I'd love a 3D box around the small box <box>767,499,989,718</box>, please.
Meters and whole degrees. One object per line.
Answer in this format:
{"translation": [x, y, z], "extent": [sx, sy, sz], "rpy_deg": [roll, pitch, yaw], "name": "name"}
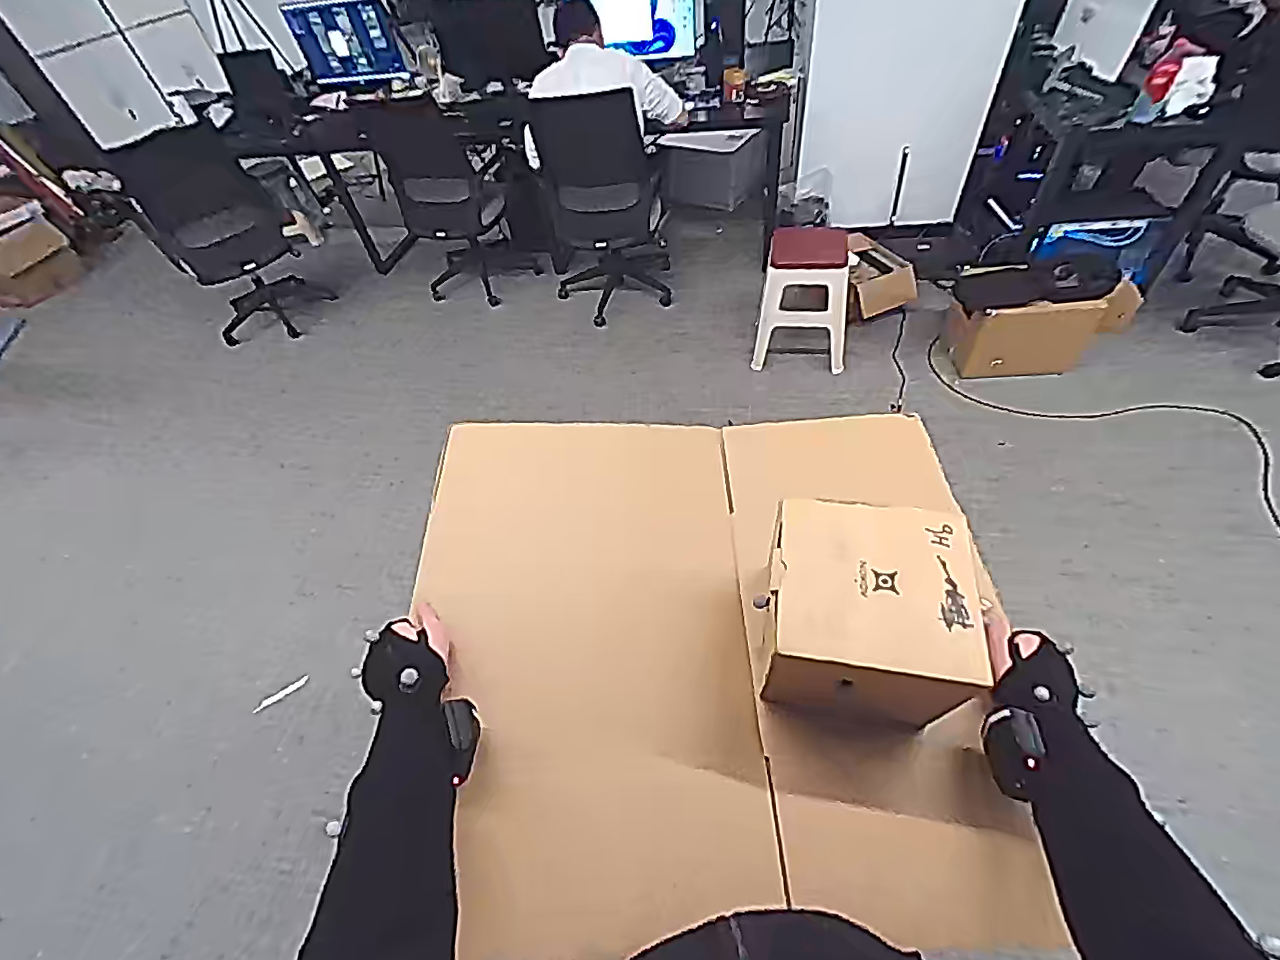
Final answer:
{"translation": [0.230, 0.139, 0.570], "extent": [0.179, 0.176, 0.168], "rpy_deg": [5, 57, 12], "name": "small box"}
